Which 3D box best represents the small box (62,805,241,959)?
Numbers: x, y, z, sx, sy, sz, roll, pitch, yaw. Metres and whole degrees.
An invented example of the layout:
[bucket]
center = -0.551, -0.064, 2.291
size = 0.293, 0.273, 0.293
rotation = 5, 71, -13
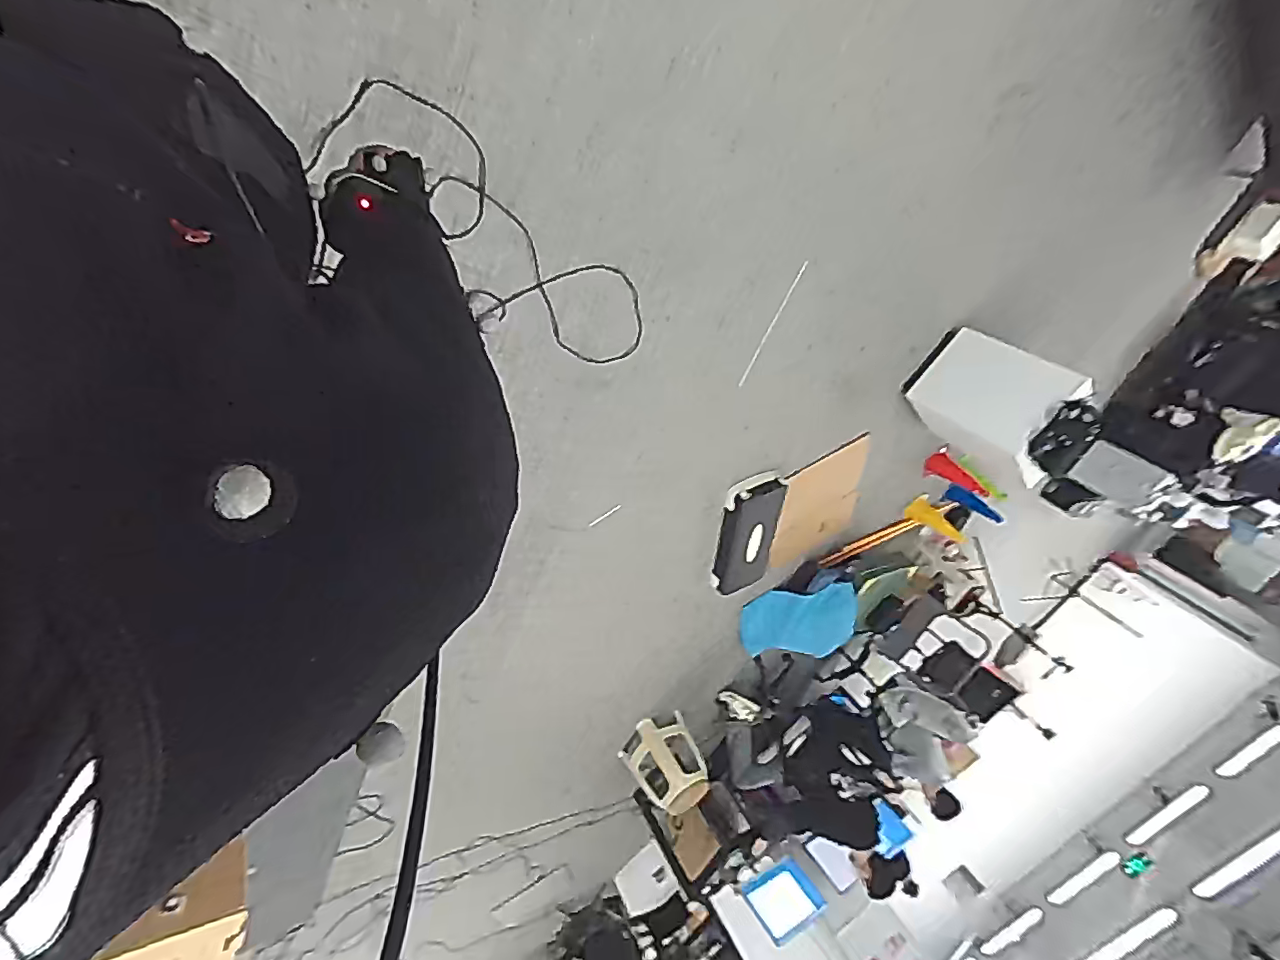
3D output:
[small box]
center = -0.687, 0.603, 0.768
size = 0.179, 0.176, 0.168
rotation = 6, 119, -40
